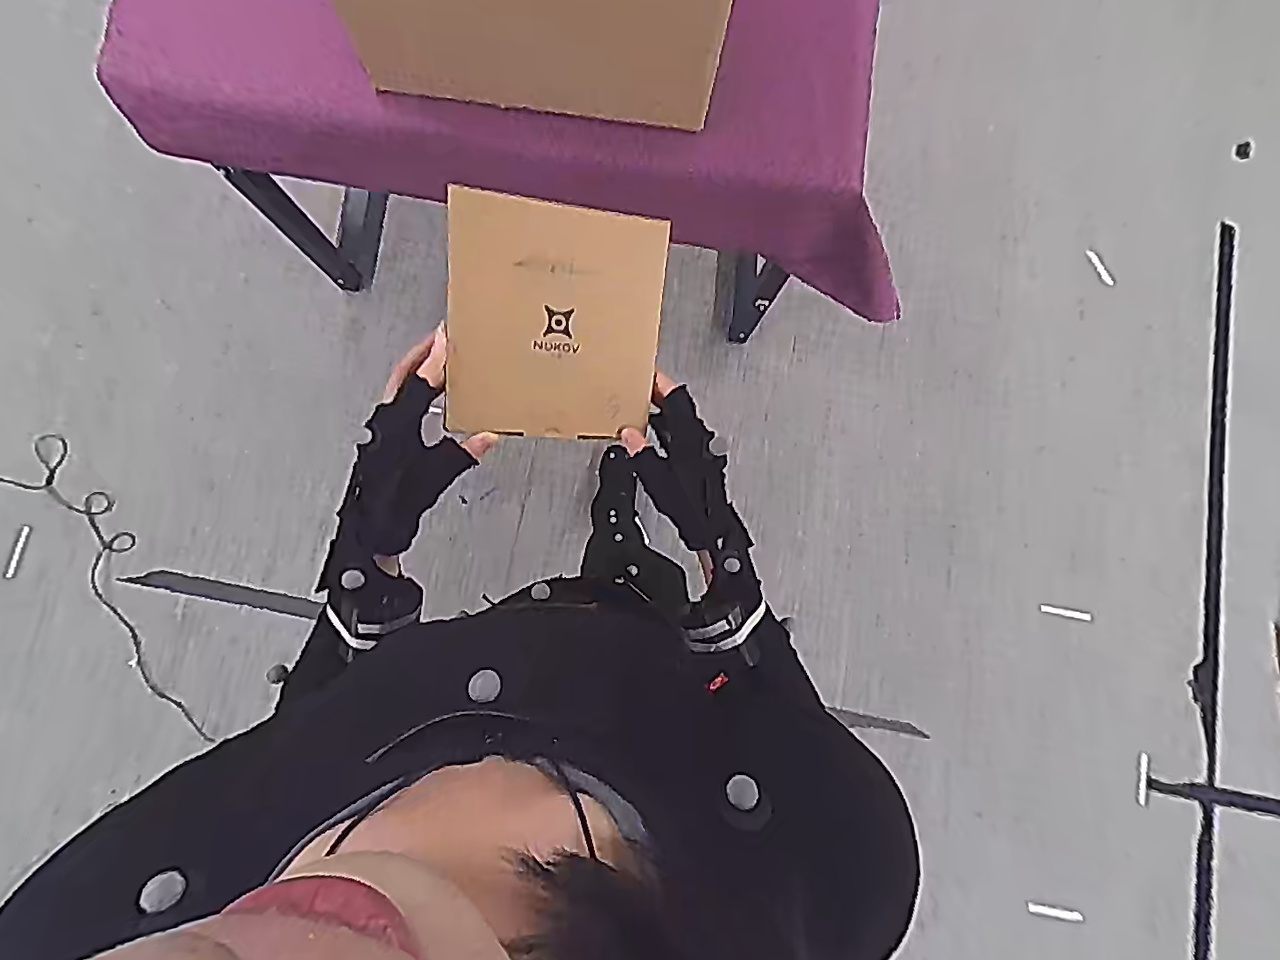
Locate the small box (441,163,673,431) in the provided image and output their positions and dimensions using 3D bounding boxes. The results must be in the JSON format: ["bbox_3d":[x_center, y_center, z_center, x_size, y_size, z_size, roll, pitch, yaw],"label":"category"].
[{"bbox_3d":[-0.084,-0.148,0.477,0.168,0.176,0.179,1,106,-18],"label":"small box"}]
